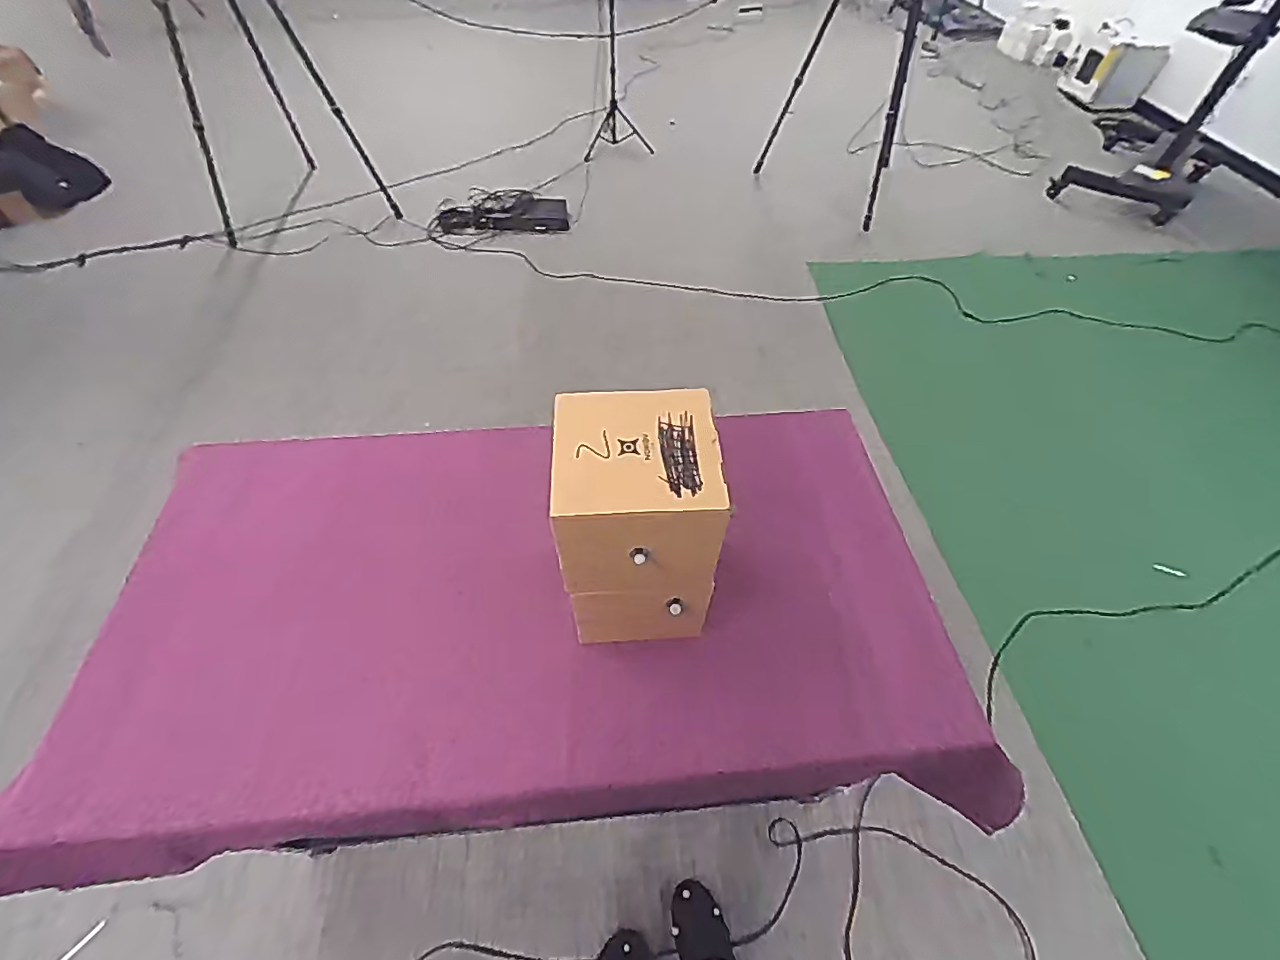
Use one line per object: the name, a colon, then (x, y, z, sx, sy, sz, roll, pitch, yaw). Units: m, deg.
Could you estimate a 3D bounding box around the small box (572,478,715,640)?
small box: (-0.002, 0.114, 0.758, 0.179, 0.176, 0.168, -3, 53, -3)
